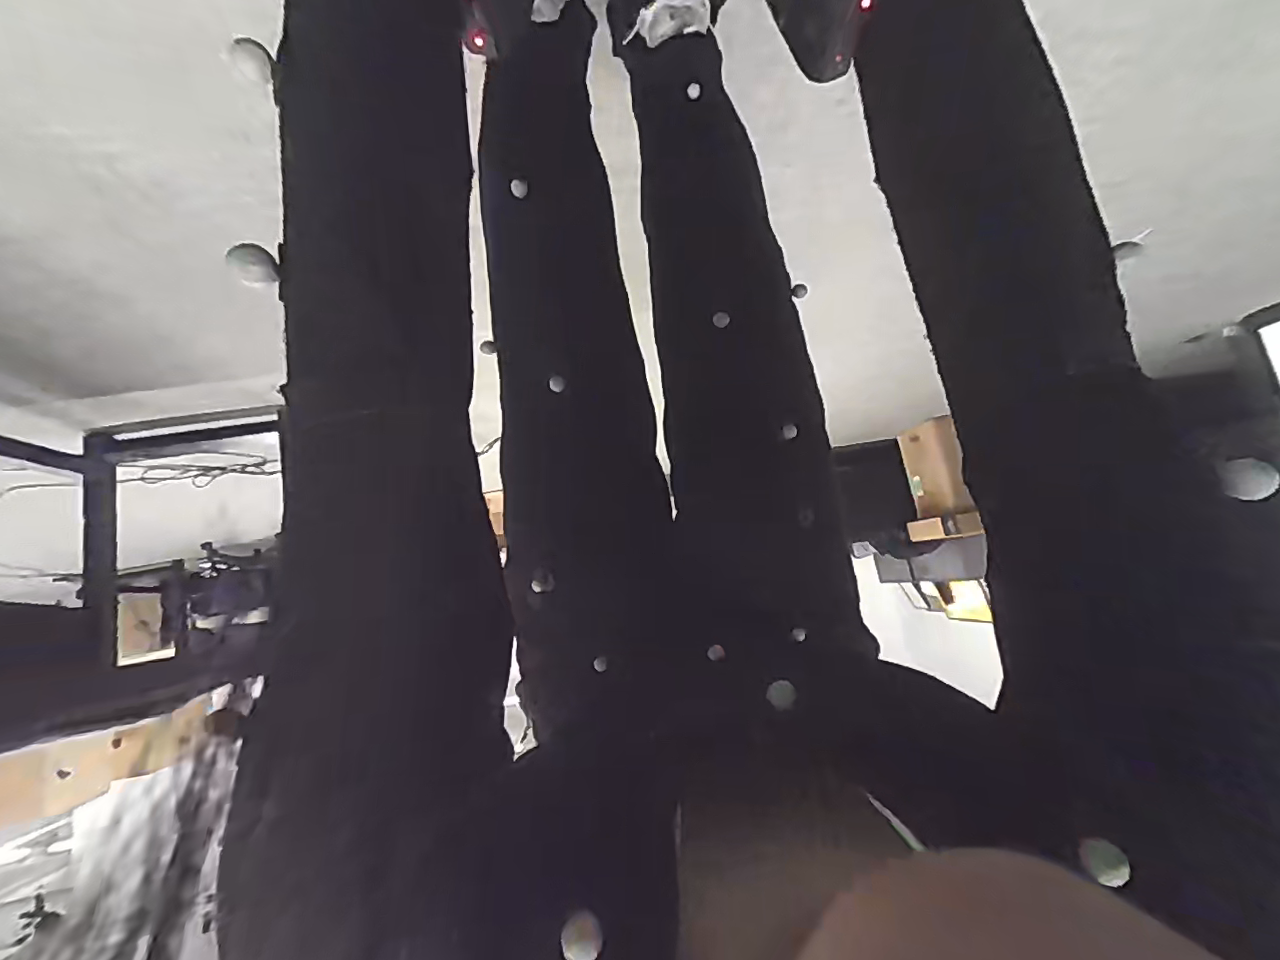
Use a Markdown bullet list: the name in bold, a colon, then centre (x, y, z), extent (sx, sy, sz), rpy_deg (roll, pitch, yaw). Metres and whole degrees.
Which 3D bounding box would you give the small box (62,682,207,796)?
- **small box**: centre (-1.104, 0.558, 1.189), extent (0.168, 0.176, 0.179), rpy_deg (-10, 170, -3)
